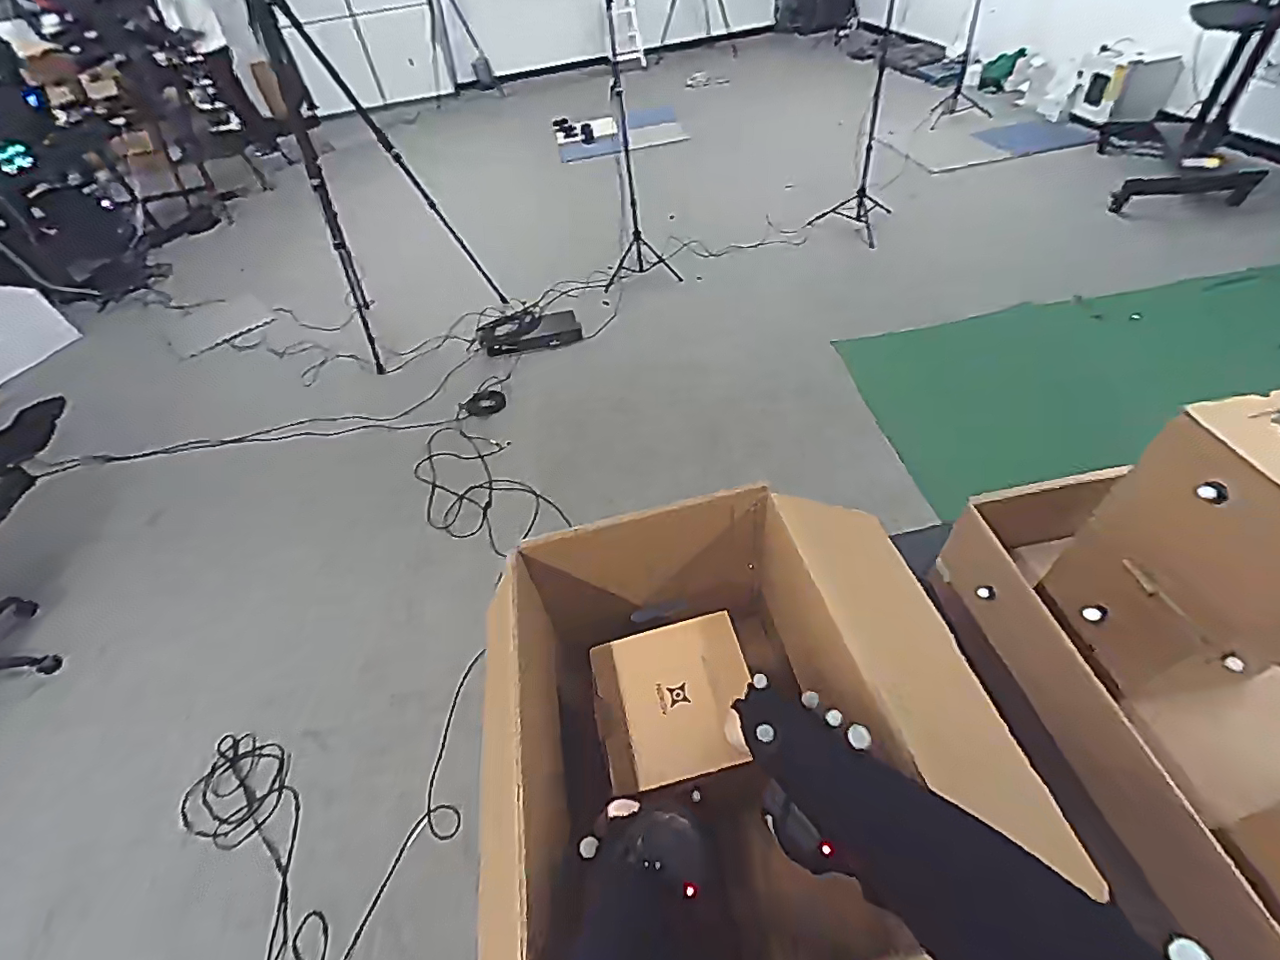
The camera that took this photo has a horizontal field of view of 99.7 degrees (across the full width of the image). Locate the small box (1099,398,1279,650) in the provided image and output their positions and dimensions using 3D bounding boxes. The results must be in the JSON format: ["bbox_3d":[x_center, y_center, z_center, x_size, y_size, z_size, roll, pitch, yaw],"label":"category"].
[{"bbox_3d":[0.621,0.041,0.533,0.168,0.176,0.179,-11,48,0],"label":"small box"}]
